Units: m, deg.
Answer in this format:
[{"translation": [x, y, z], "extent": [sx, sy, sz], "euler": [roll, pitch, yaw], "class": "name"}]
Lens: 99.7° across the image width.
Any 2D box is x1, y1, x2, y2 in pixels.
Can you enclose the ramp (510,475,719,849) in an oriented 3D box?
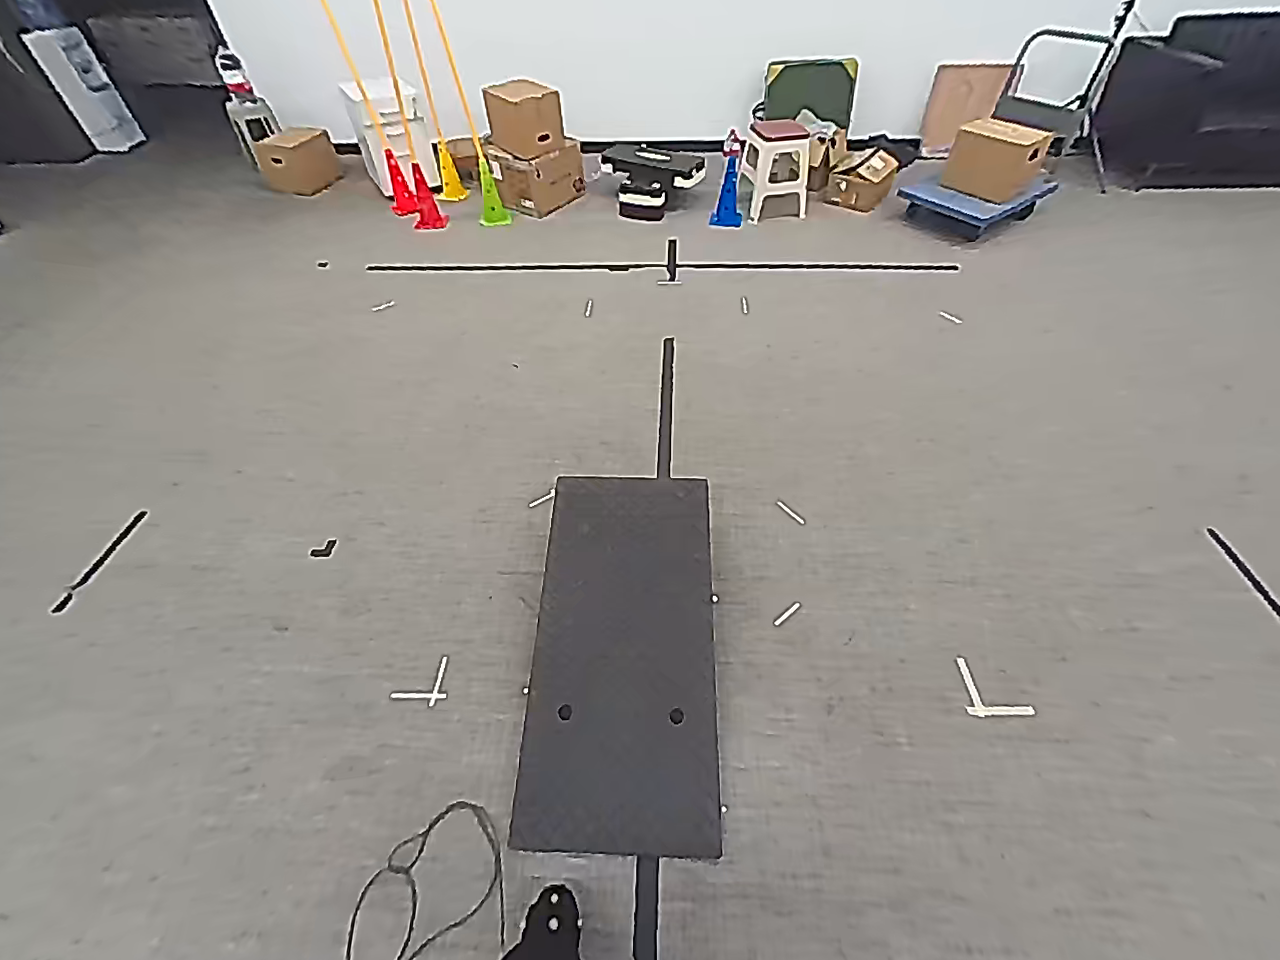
[{"translation": [-0.041, 0.415, 1.498], "extent": [0.509, 0.206, 0.991], "euler": [1, 48, 0], "class": "ramp"}]
